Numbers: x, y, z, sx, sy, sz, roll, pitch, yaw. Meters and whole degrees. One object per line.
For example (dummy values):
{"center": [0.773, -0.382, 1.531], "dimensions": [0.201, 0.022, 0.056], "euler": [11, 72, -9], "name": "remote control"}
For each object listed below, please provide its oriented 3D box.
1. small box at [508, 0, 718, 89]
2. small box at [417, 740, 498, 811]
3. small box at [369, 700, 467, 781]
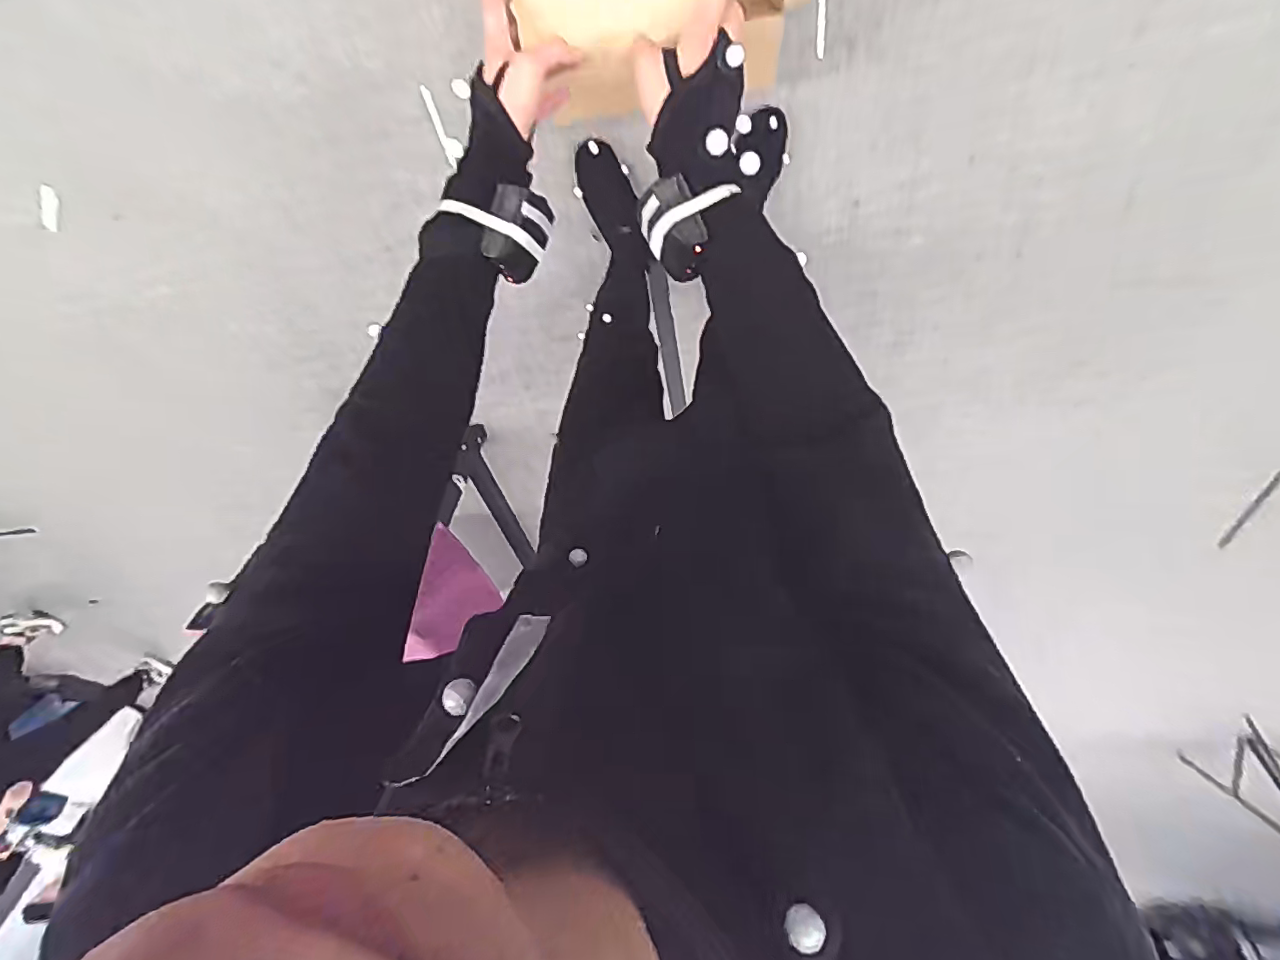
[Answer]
{"center": [-0.015, -0.461, 0.457], "dimensions": [0.168, 0.176, 0.179], "euler": [5, 141, 6], "name": "small box"}
{"center": [-0.600, 0.982, 1.802], "dimensions": [0.179, 0.176, 0.168], "euler": [-9, 134, 14], "name": "small box"}
{"center": [-0.644, 0.766, 1.589], "dimensions": [0.179, 0.176, 0.168], "euler": [-13, 133, 19], "name": "small box"}
